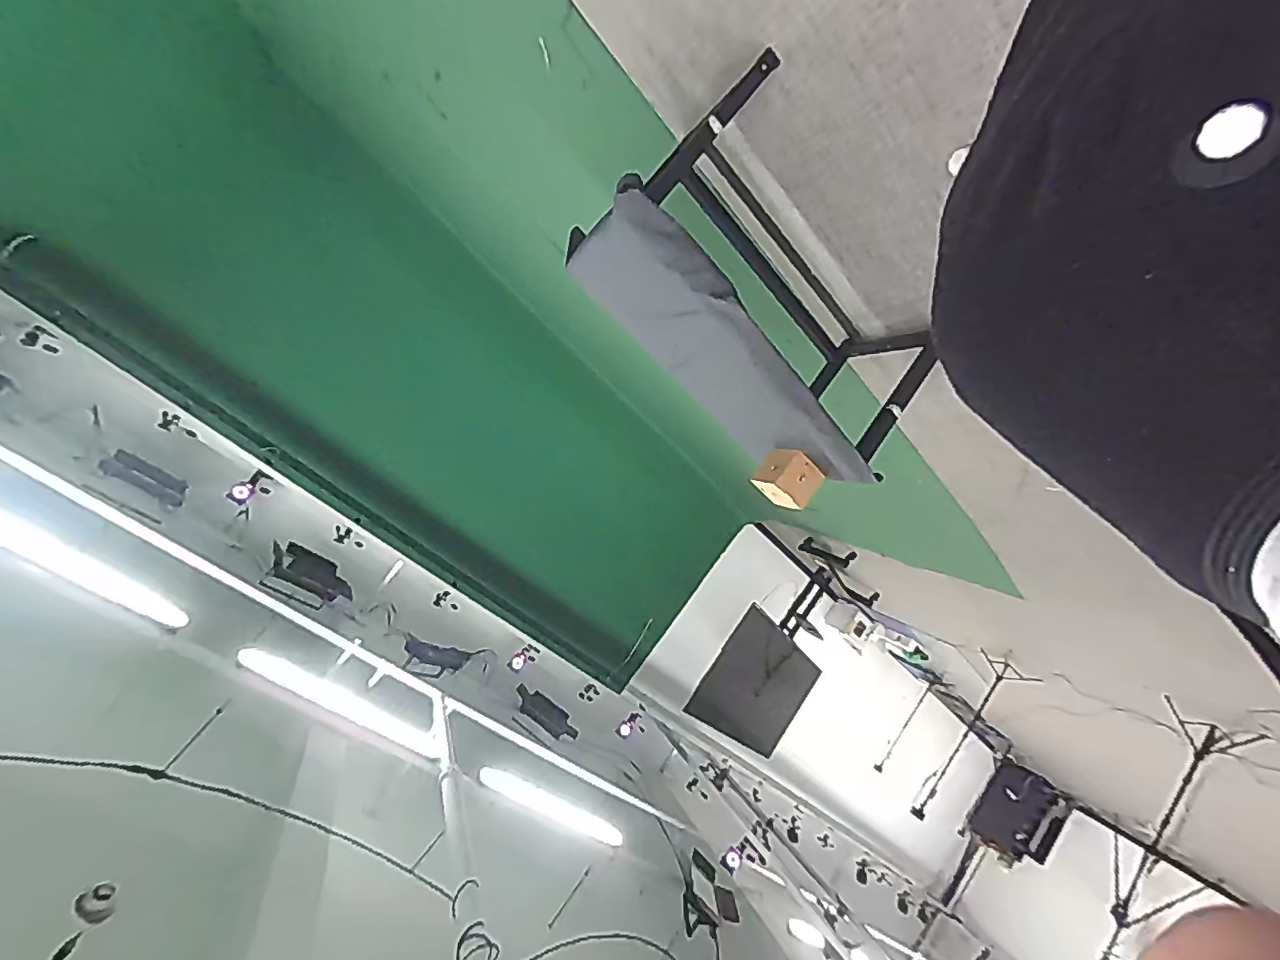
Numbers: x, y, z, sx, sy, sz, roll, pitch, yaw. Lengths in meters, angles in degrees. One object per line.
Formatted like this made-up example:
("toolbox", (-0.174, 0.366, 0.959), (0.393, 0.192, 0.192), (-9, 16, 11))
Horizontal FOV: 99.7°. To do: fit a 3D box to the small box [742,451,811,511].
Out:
("small box", (0.543, 0.000, 2.124), (0.168, 0.176, 0.179), (42, 168, -20))
